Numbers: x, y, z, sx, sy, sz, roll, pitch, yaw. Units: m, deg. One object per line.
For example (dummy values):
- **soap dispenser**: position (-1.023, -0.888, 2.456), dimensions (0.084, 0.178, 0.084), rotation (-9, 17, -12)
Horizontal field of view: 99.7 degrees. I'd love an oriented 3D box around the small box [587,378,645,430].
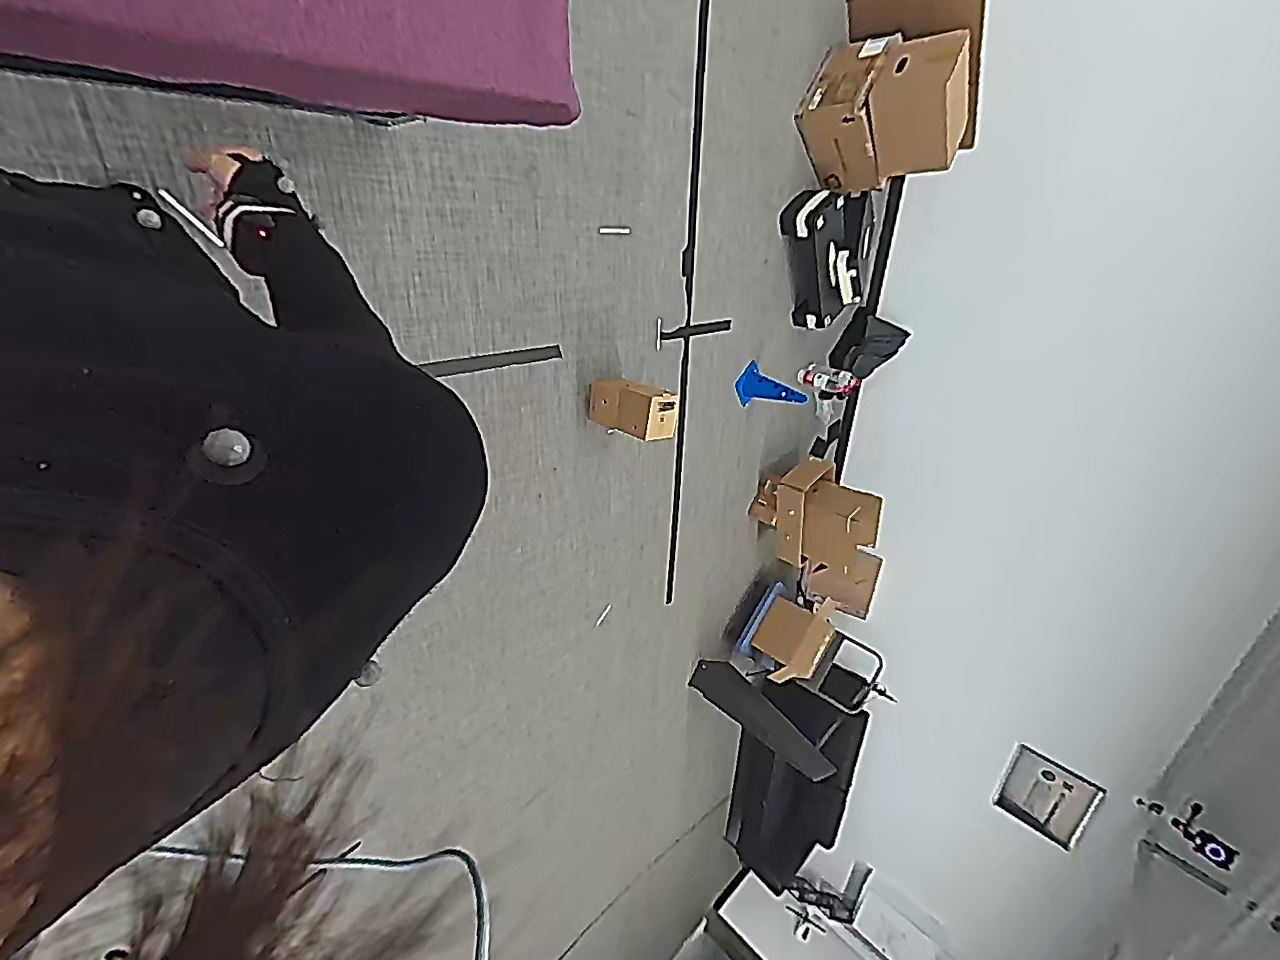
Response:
- **small box**: position (-0.104, -0.315, 2.223), dimensions (0.179, 0.176, 0.168), rotation (-19, 123, -43)
